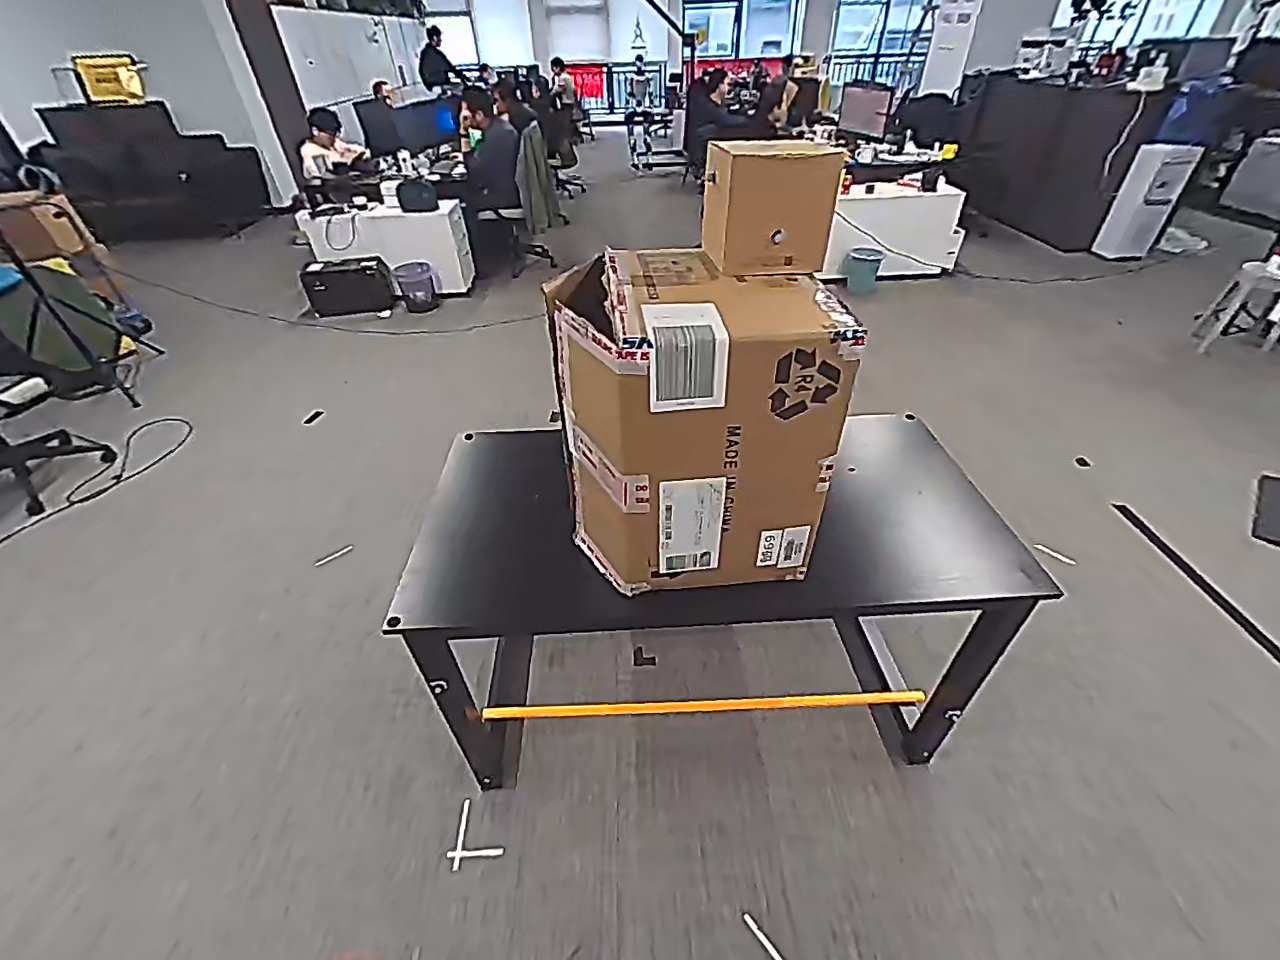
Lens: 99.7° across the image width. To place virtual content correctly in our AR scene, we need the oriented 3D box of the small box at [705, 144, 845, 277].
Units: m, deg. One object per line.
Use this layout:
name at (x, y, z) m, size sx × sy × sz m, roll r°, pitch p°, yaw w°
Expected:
small box at (0.205, -0.440, 0.879) m, size 0.168 × 0.176 × 0.179 m, roll -4°, pitch 37°, yaw -4°
